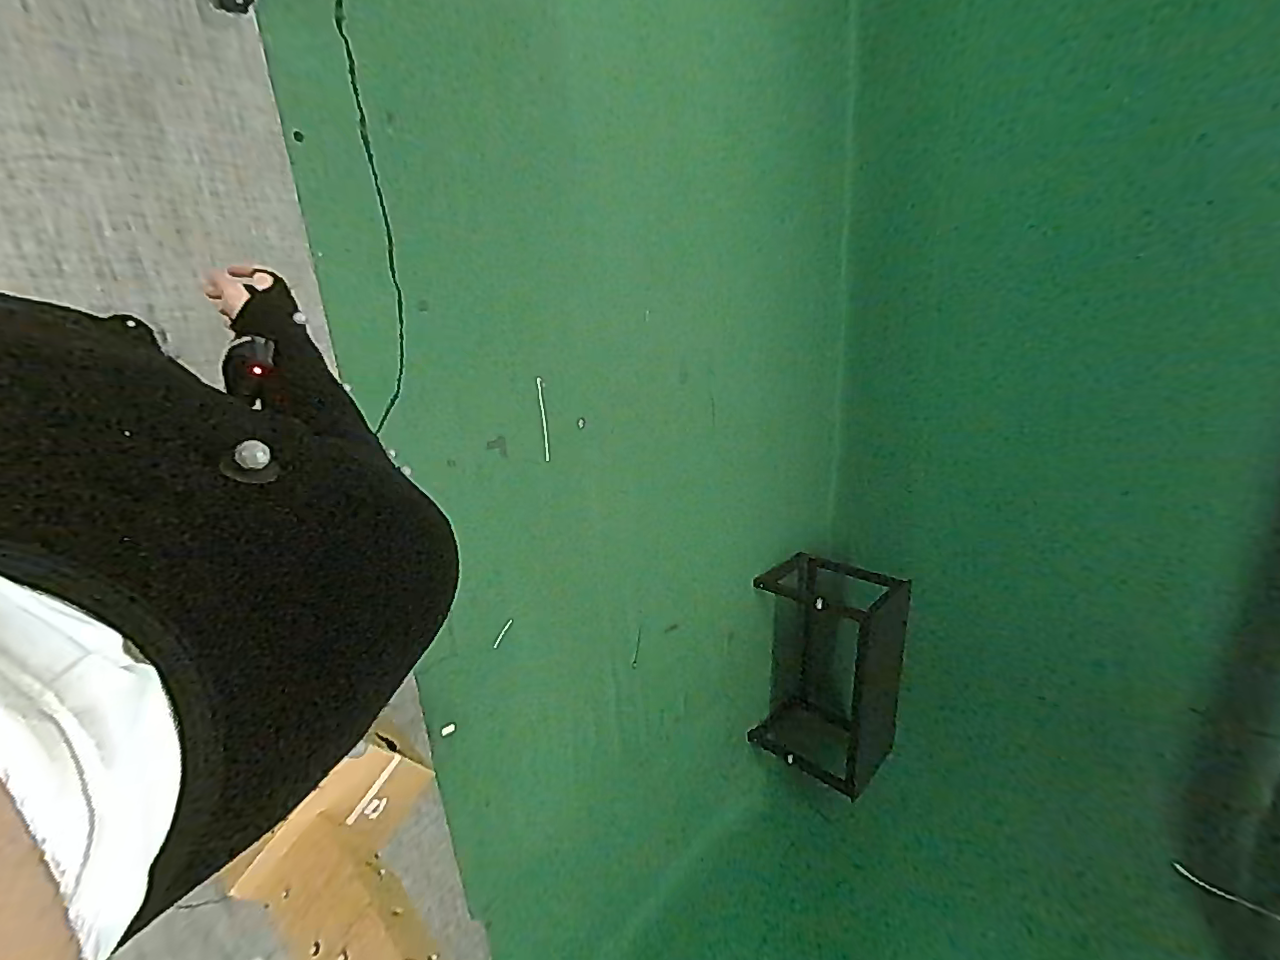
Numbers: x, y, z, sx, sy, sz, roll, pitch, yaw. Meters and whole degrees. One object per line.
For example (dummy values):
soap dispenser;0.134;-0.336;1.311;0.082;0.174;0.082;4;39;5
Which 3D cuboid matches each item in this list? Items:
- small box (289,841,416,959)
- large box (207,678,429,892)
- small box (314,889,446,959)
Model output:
small box;-0.654;0.971;1.221;0.179;0.176;0.168;-50;132;-25
large box;-0.903;0.854;1.533;0.408;0.320;0.320;-55;135;-23
small box;-0.539;0.998;1.107;0.179;0.176;0.168;-49;132;-25
